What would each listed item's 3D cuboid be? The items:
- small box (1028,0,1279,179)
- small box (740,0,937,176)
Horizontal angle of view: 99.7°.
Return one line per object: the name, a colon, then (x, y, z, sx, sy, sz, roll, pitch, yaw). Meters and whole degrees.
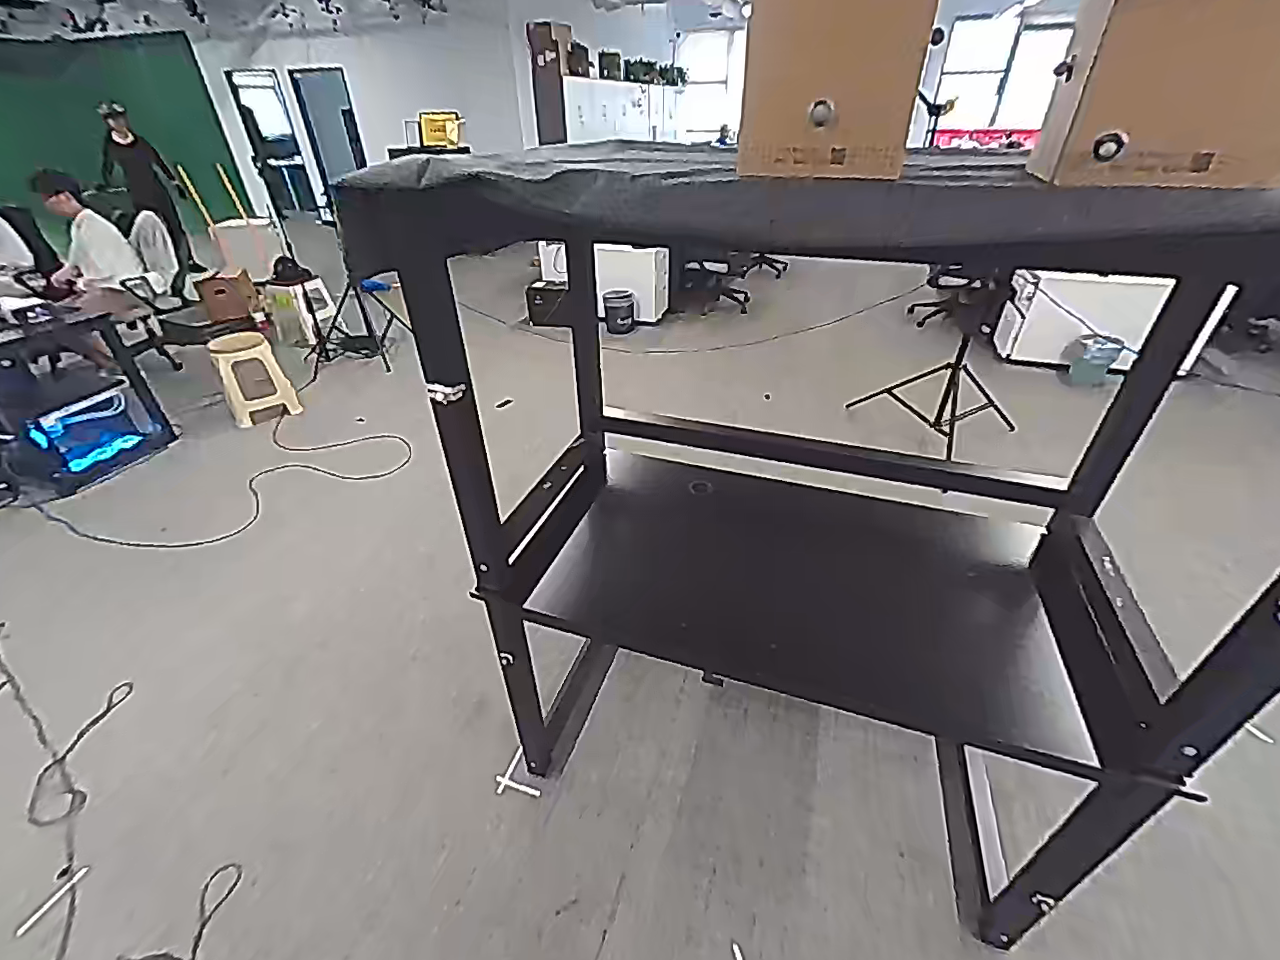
small box: (0.492, -0.378, 0.500, 0.168, 0.176, 0.179, 13, 35, 20)
small box: (0.207, -0.429, 0.579, 0.168, 0.176, 0.179, 11, 34, 17)
